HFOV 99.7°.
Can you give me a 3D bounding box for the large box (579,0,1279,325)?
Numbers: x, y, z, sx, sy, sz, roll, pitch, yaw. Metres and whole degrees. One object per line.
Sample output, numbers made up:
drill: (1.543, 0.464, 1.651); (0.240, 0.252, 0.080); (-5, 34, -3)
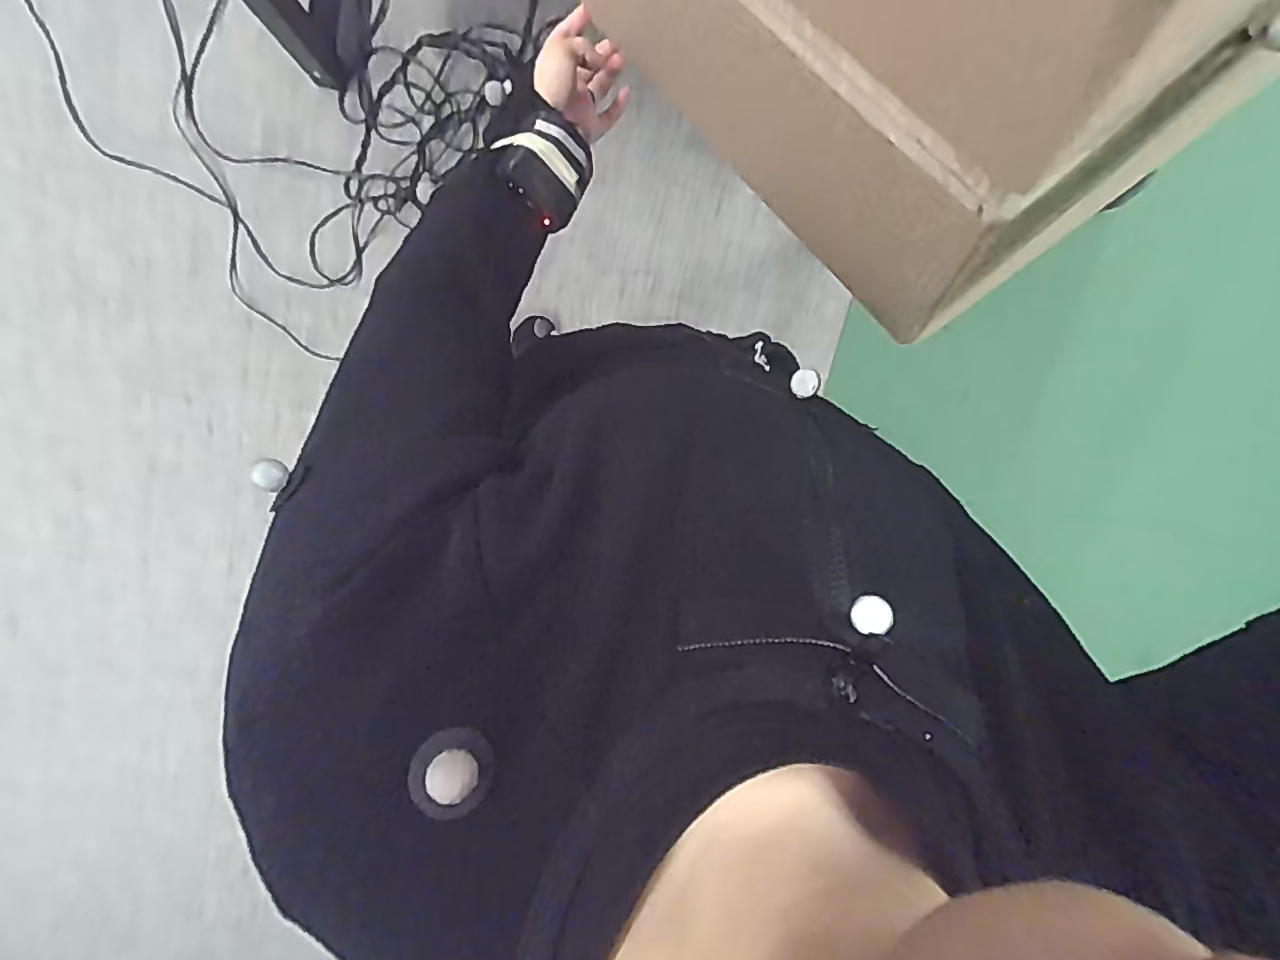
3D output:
large box: (0.155, -0.362, 0.262); (0.320, 0.320, 0.408); (-39, 77, 4)
